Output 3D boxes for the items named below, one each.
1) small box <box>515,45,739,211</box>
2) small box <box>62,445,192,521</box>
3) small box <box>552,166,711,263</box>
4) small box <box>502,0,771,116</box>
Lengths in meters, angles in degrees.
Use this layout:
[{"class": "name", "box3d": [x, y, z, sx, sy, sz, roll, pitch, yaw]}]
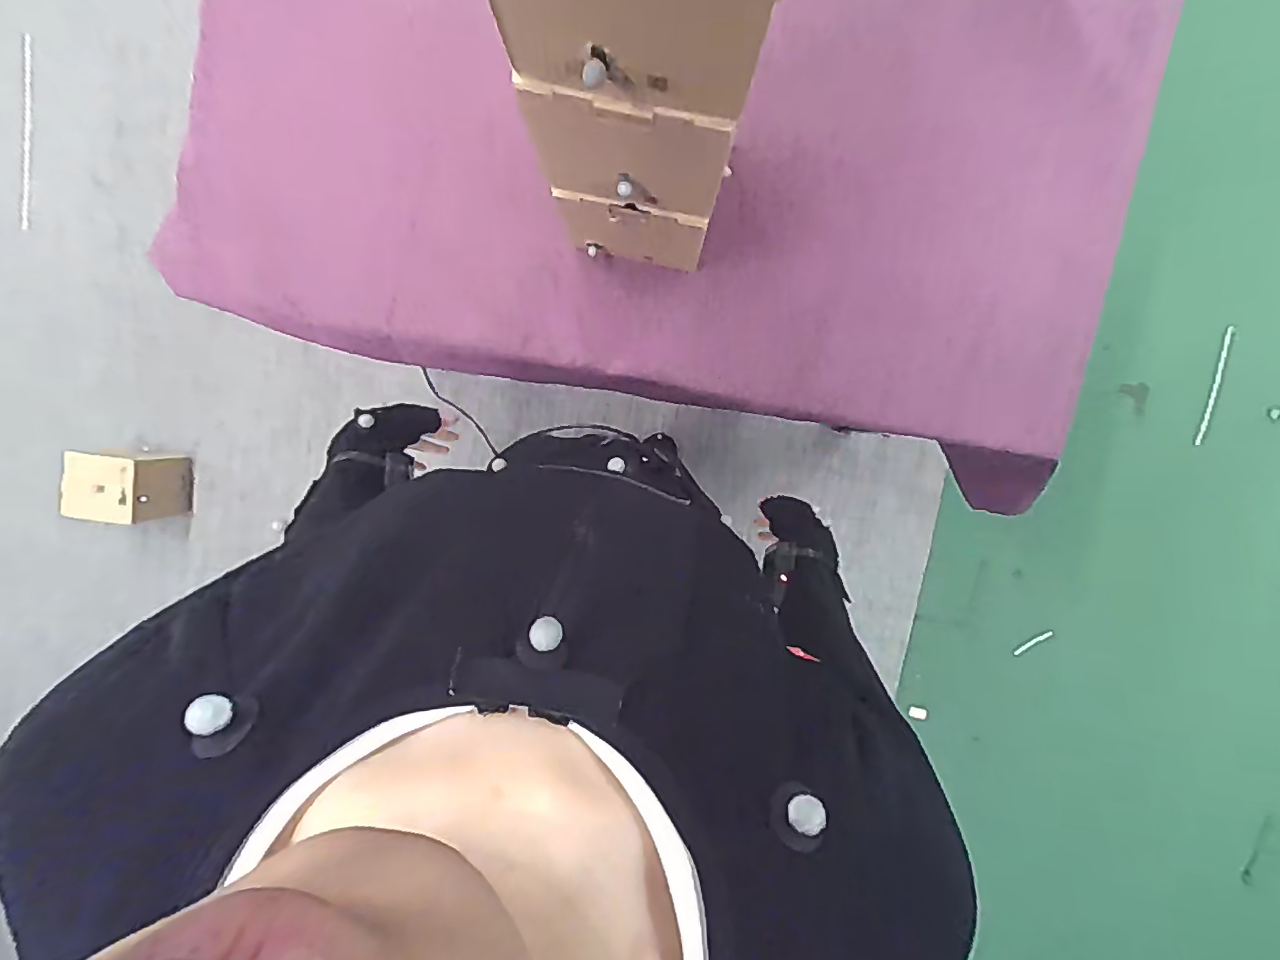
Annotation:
[{"class": "small box", "box3d": [0.006, -0.364, 0.462, 0.168, 0.176, 0.179, 11, 96, 0]}, {"class": "small box", "box3d": [-1.328, 0.003, 1.407, 0.179, 0.176, 0.168, 9, 96, 0]}, {"class": "small box", "box3d": [0.007, -0.372, 0.626, 0.168, 0.176, 0.179, 12, 95, -1]}, {"class": "small box", "box3d": [0.006, -0.352, 0.300, 0.168, 0.176, 0.179, 11, 96, 0]}]
